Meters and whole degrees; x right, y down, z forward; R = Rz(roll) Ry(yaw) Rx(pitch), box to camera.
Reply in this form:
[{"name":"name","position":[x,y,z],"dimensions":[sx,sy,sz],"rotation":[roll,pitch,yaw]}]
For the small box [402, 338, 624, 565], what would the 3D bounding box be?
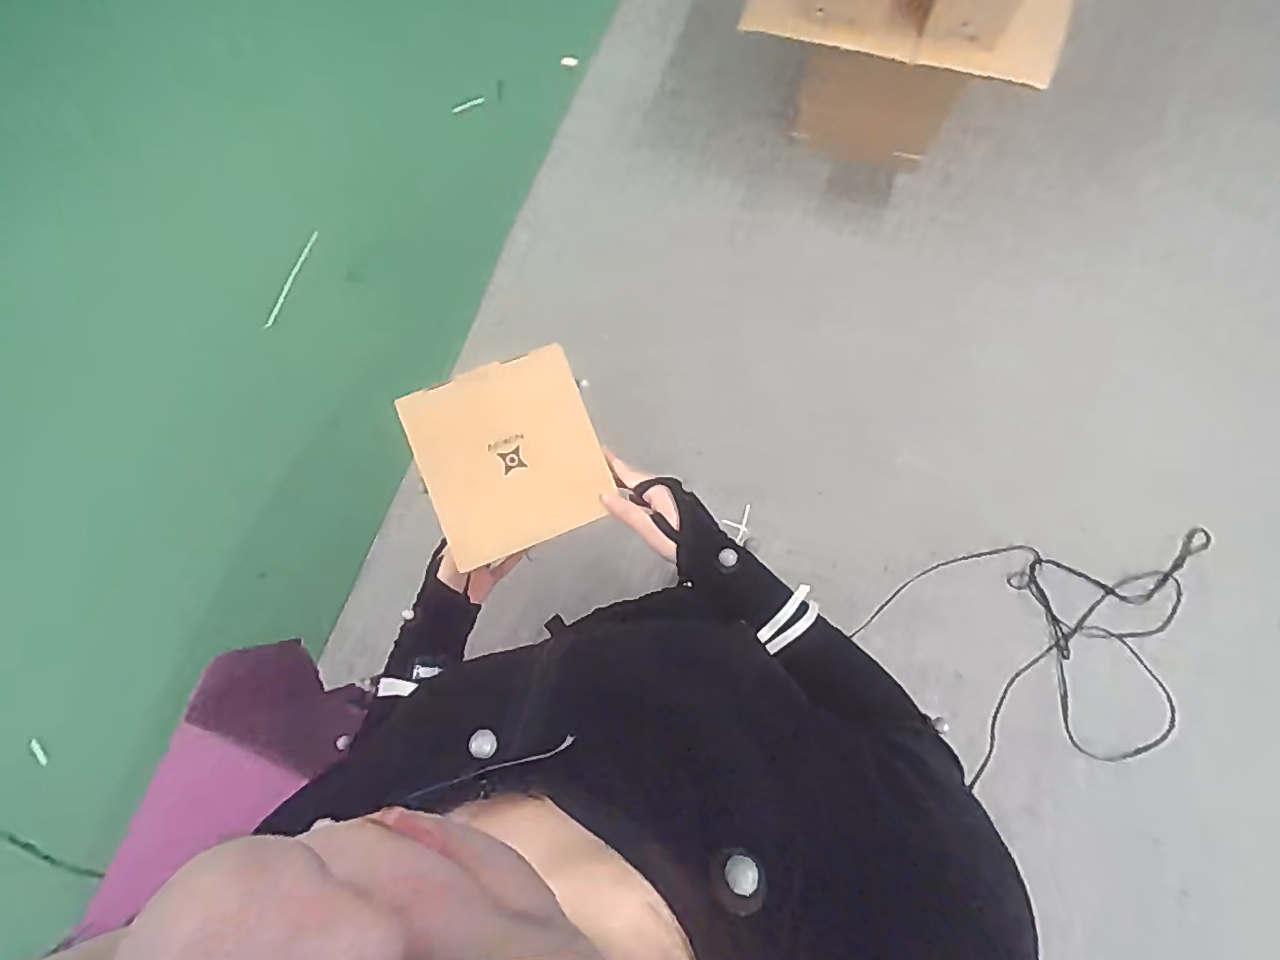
[{"name":"small box","position":[-0.123,-0.024,0.587],"dimensions":[0.168,0.176,0.179],"rotation":[-21,87,-5]}]
